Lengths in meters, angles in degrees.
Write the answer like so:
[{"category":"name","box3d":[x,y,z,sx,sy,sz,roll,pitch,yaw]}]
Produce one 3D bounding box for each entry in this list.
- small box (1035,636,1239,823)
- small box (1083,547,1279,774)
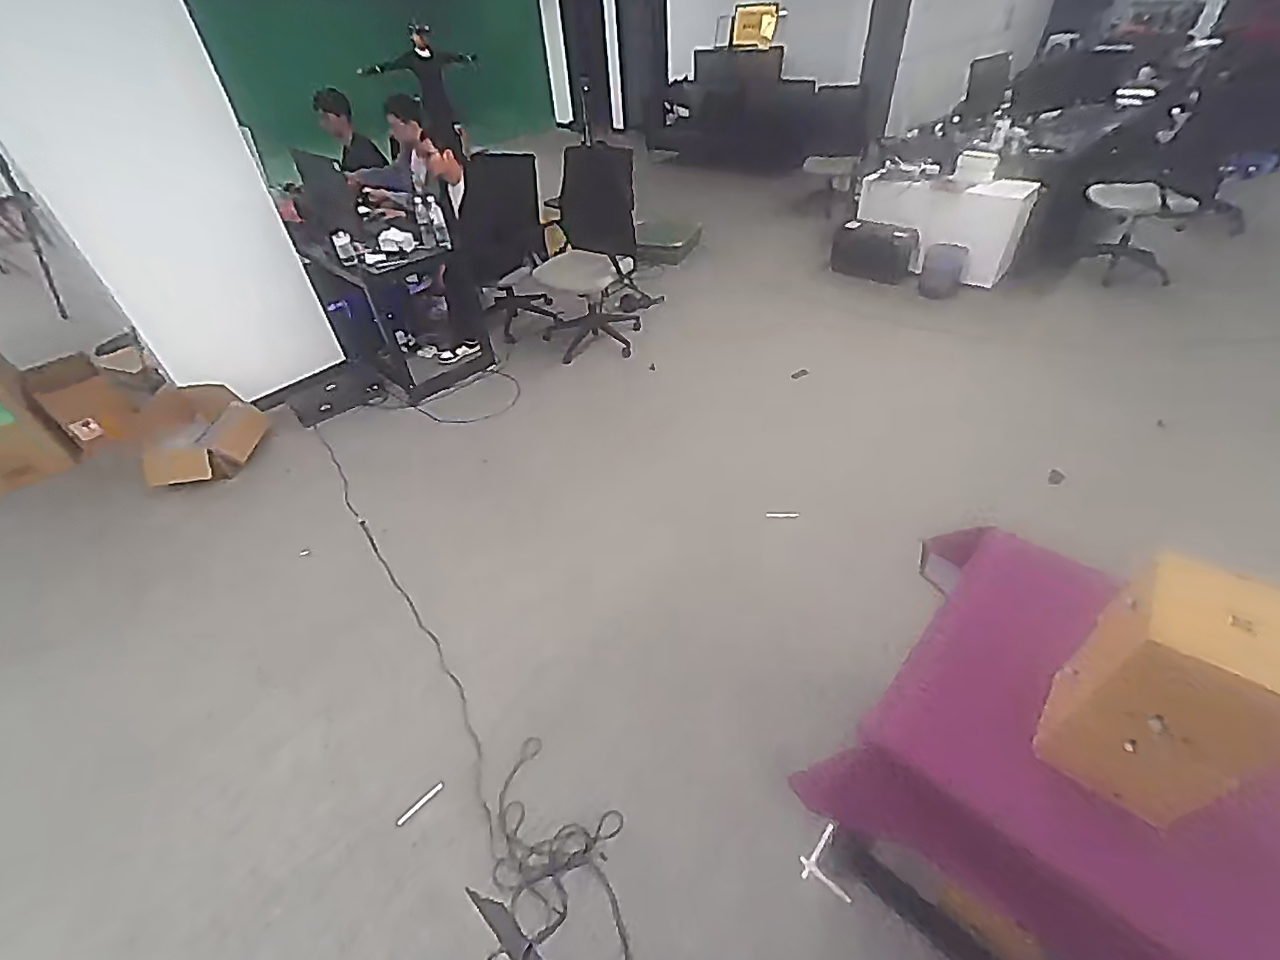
[{"category":"small box","box3d":[0.720,0.351,0.793,0.168,0.176,0.179,28,50,31]},{"category":"small box","box3d":[0.708,0.226,0.688,0.168,0.176,0.179,26,50,30]}]
